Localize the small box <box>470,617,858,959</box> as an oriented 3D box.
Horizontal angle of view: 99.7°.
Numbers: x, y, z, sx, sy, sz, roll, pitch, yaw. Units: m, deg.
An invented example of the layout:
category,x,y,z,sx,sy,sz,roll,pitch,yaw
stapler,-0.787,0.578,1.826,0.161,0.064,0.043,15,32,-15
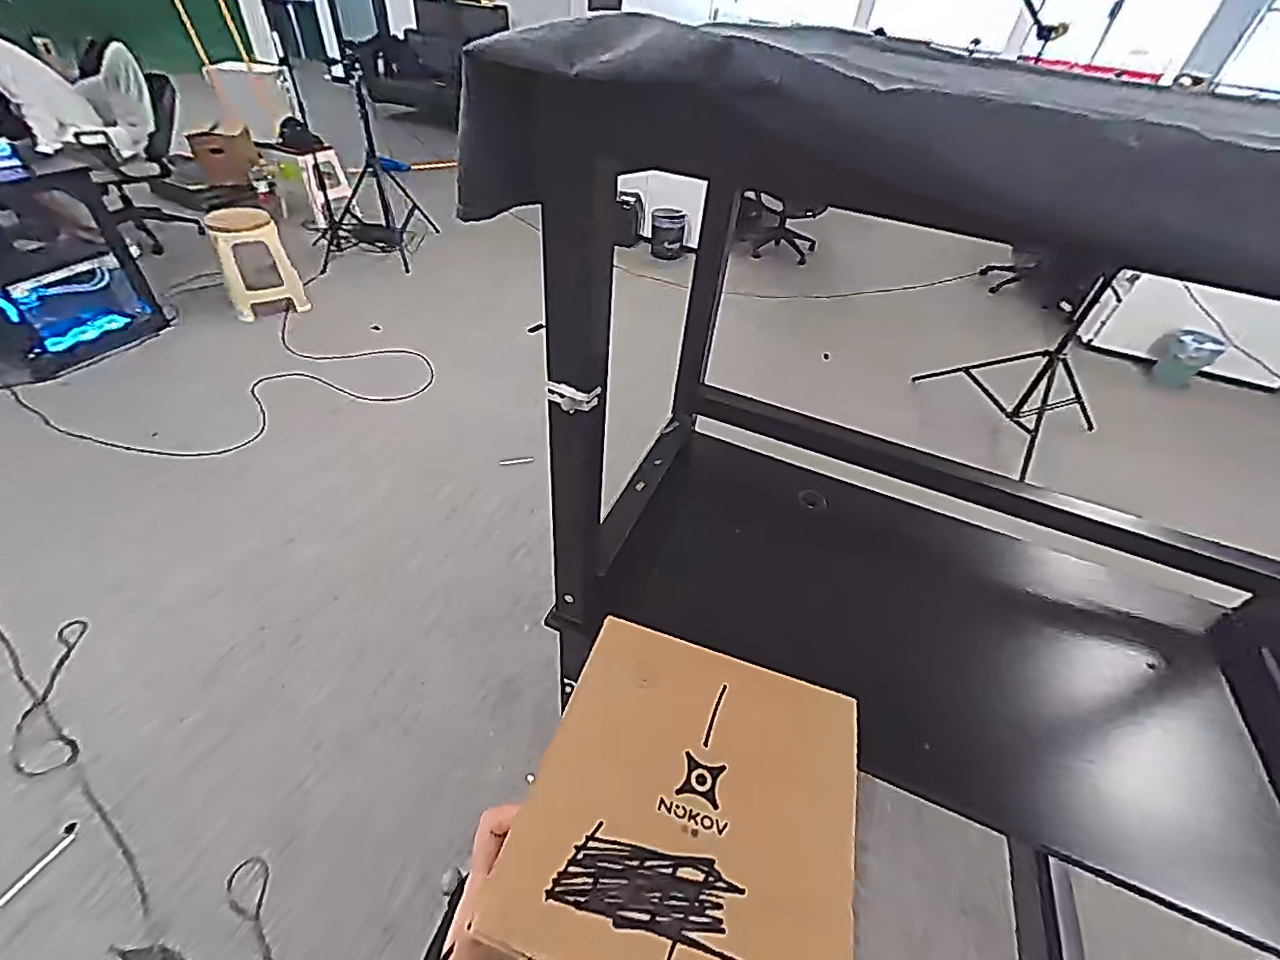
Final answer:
category,x,y,z,sx,sy,sz,roll,pitch,yaw
small box,0.022,0.224,0.335,0.168,0.176,0.179,16,41,10
